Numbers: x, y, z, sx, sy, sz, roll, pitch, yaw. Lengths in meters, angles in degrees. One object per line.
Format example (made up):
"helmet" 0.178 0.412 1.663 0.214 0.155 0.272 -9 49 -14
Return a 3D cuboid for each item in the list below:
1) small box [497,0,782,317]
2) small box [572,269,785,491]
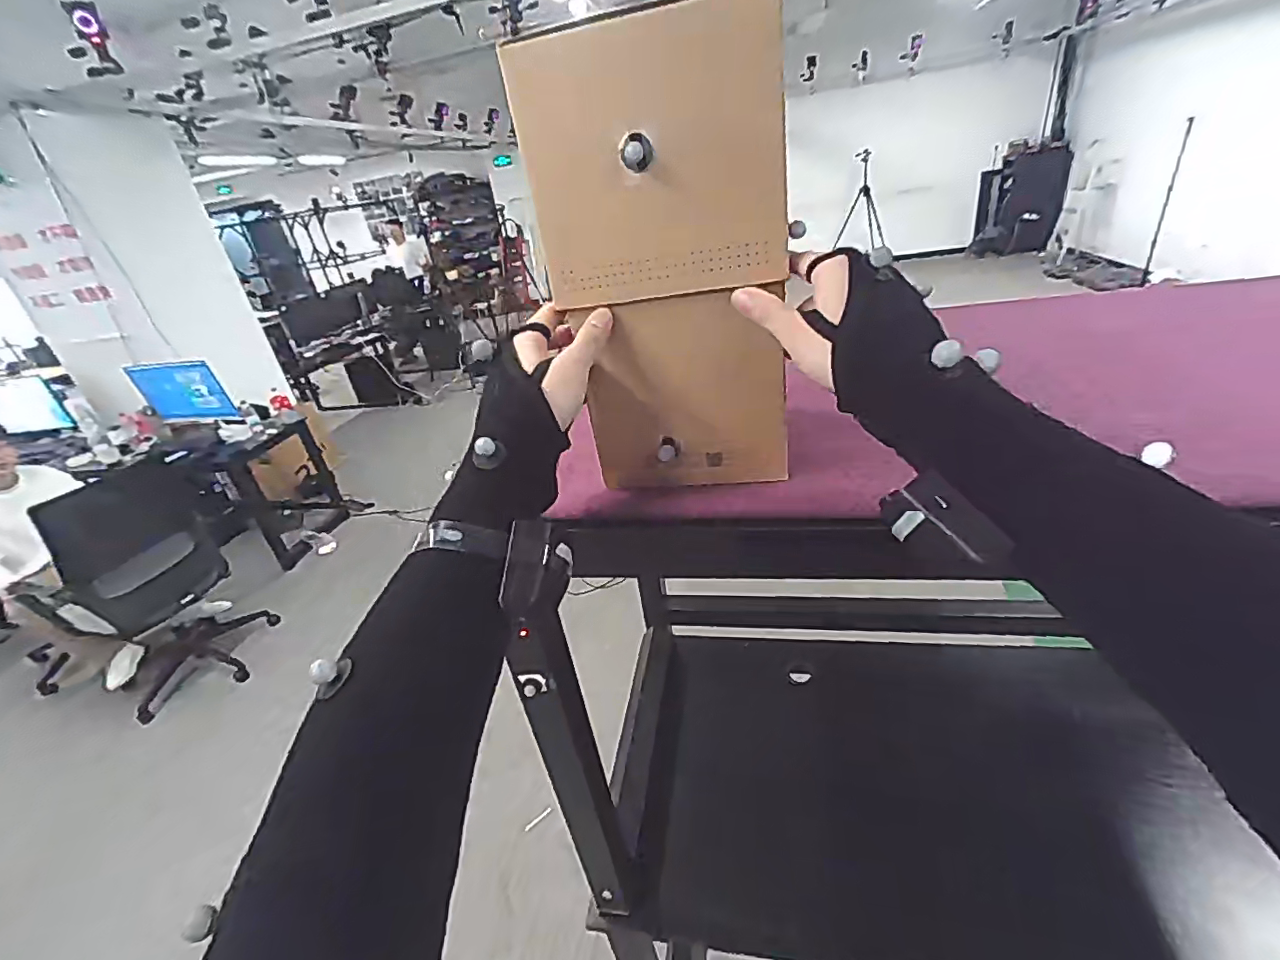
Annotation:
"small box" 0.019 -0.240 0.429 0.179 0.176 0.168 -5 28 13
"small box" 0.048 -0.103 0.514 0.168 0.176 0.179 -3 29 12
